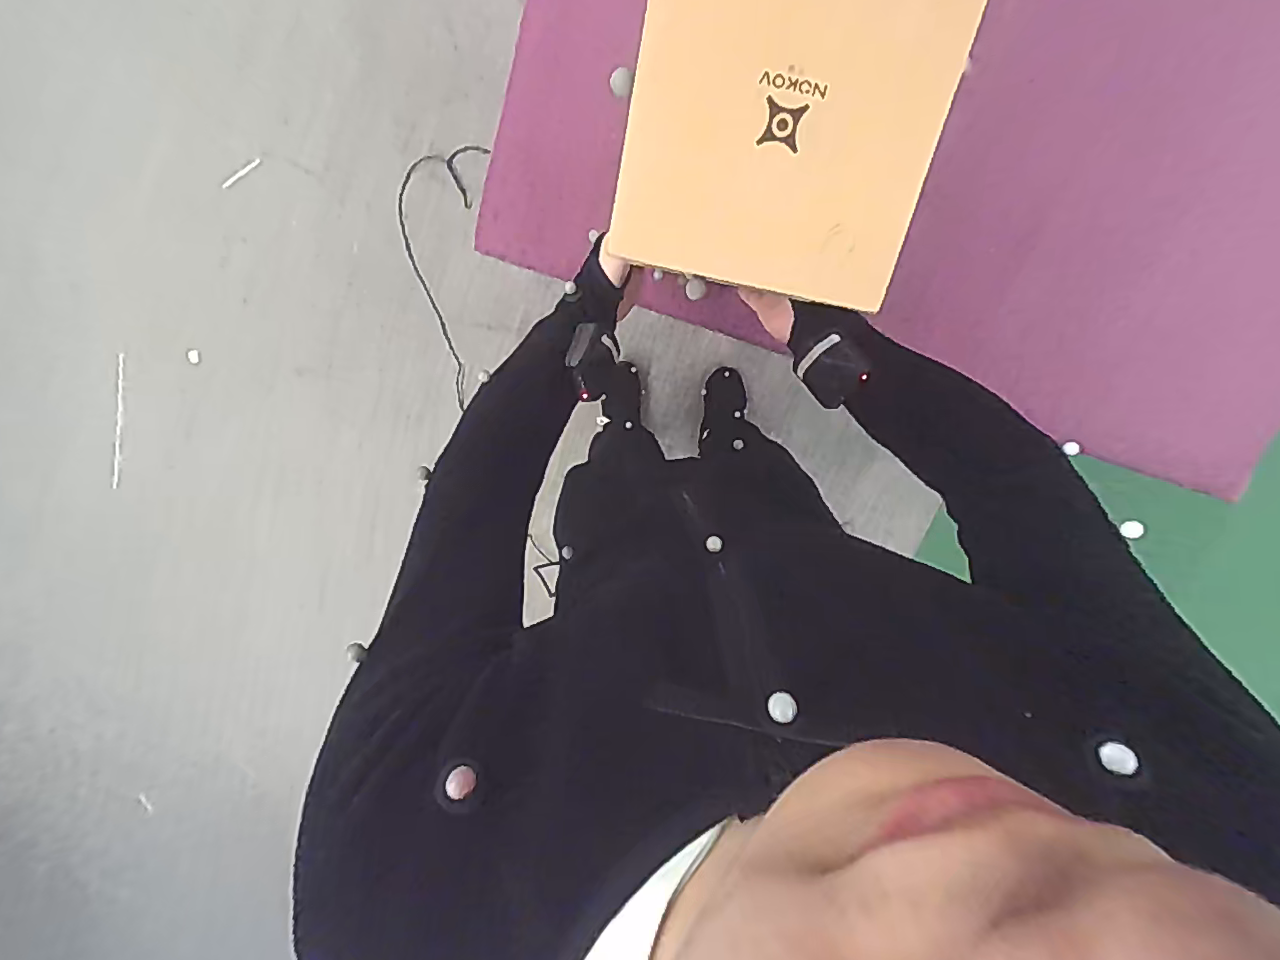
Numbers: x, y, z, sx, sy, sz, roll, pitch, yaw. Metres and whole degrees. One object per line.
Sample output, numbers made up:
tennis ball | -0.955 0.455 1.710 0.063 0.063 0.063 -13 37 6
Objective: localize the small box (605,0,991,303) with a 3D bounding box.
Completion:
small box | 0.081 -0.225 0.351 0.168 0.176 0.179 12 110 -1
